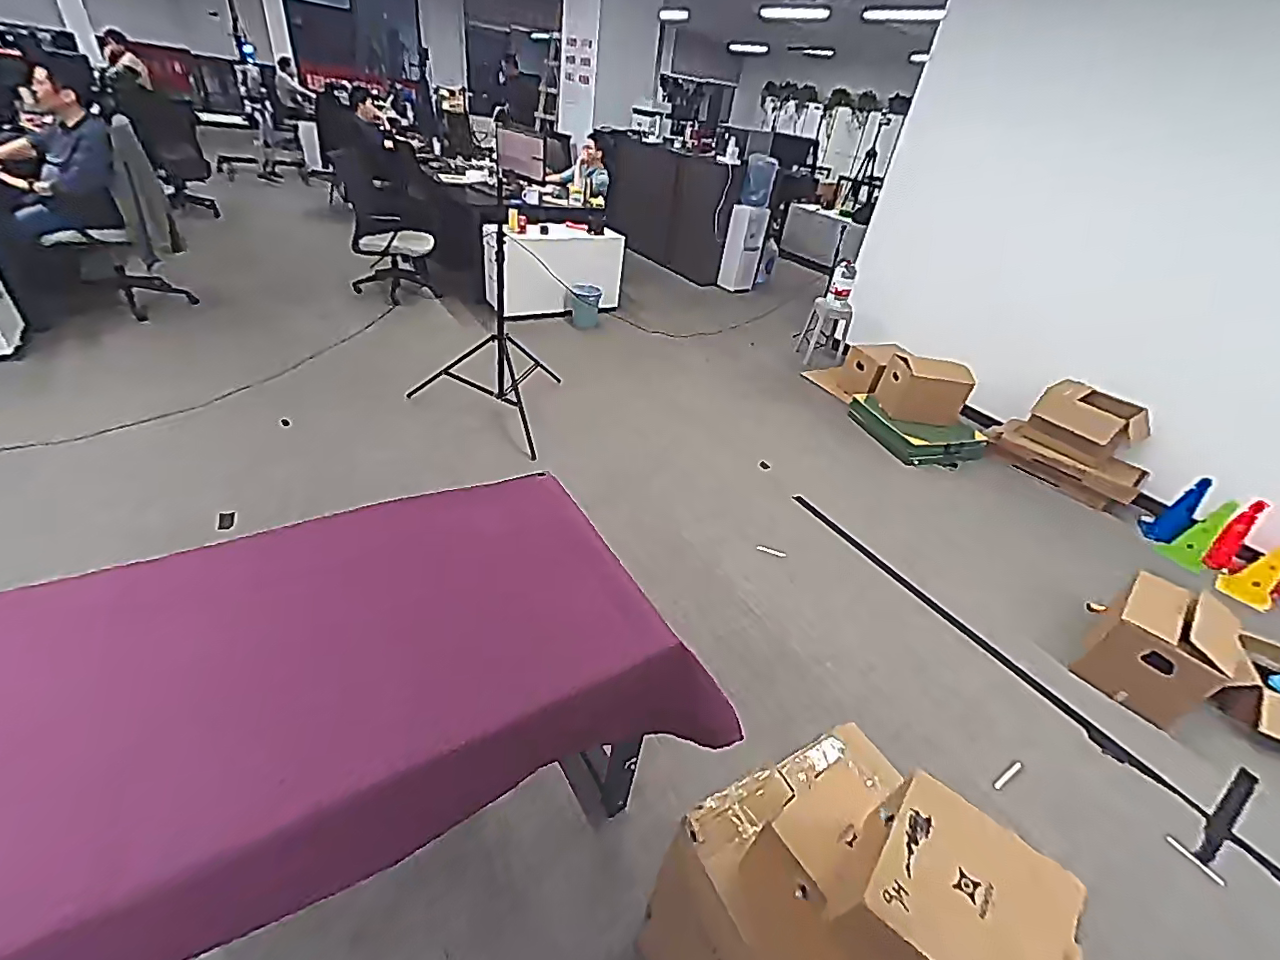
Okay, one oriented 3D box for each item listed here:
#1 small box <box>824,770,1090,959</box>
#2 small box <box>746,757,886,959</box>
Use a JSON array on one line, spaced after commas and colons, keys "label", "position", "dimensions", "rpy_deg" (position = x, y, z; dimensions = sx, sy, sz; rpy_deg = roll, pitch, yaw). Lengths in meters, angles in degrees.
[{"label": "small box", "position": [0.333, 0.469, 0.593], "dimensions": [0.179, 0.176, 0.168], "rpy_deg": [31, 50, 26]}, {"label": "small box", "position": [0.279, 0.551, 0.775], "dimensions": [0.168, 0.176, 0.179], "rpy_deg": [-19, 45, -32]}]
